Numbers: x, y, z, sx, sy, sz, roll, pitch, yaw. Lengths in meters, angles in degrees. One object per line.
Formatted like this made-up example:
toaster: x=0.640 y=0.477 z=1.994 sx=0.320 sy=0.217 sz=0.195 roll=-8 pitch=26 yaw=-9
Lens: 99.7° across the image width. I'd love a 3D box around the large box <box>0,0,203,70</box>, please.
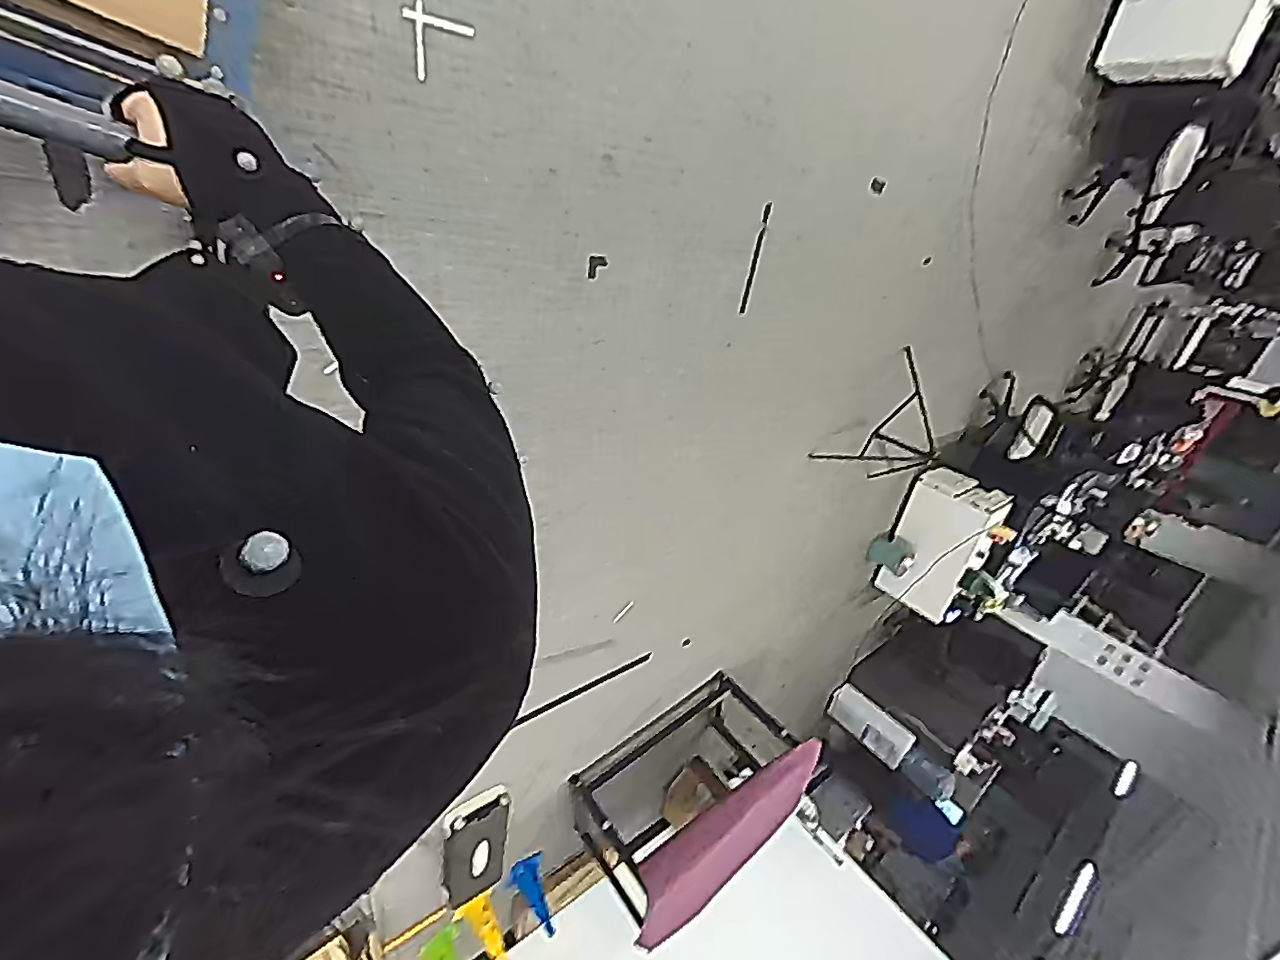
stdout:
large box: x=-0.723 y=-0.706 z=0.563 sx=0.408 sy=0.320 sz=0.320 roll=1 pitch=116 yaw=-45
